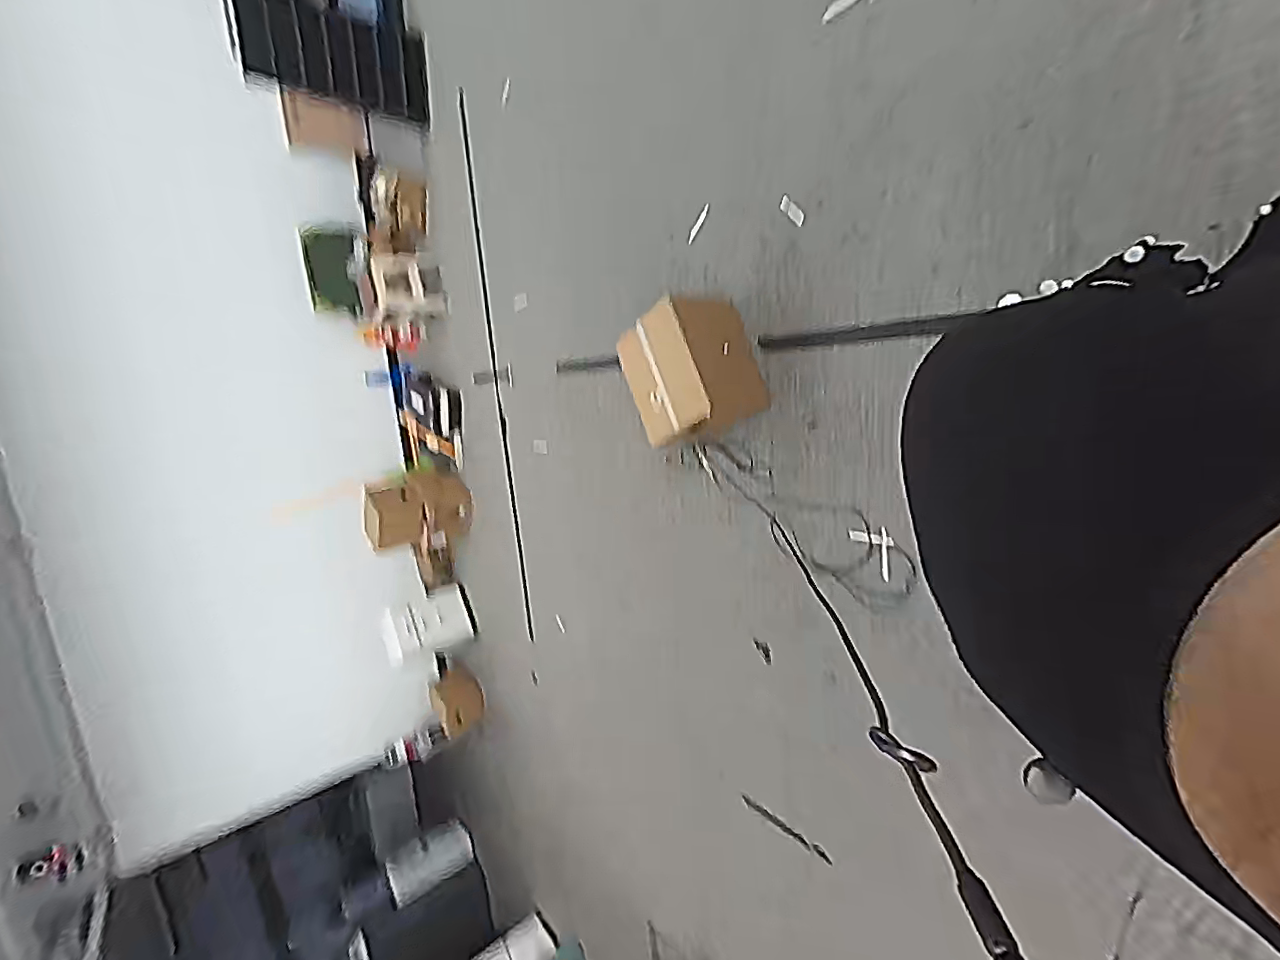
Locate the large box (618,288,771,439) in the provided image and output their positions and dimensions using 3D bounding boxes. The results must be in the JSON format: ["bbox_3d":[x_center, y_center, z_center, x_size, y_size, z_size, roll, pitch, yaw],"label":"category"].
[{"bbox_3d":[0.185,-0.396,1.864,0.320,0.320,0.408,-29,78,50],"label":"large box"}]
